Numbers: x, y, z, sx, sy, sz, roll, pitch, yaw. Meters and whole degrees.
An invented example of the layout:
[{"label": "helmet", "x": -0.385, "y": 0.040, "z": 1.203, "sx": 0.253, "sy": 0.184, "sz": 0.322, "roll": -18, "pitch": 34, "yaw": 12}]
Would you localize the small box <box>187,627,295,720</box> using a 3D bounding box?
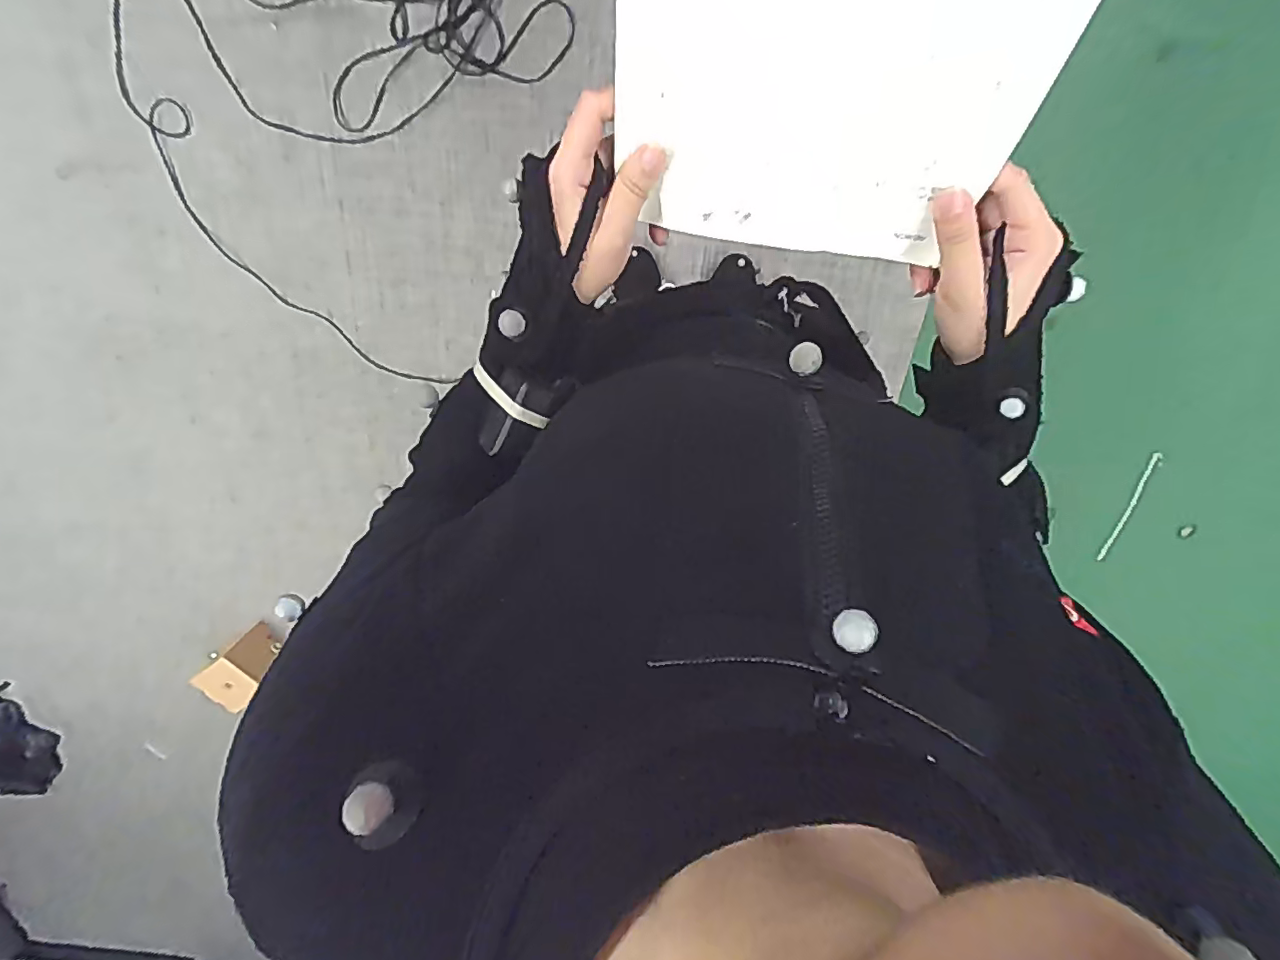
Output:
[{"label": "small box", "x": -1.223, "y": 0.595, "z": 1.673, "sx": 0.179, "sy": 0.176, "sz": 0.168, "roll": -35, "pitch": 109, "yaw": 16}]
